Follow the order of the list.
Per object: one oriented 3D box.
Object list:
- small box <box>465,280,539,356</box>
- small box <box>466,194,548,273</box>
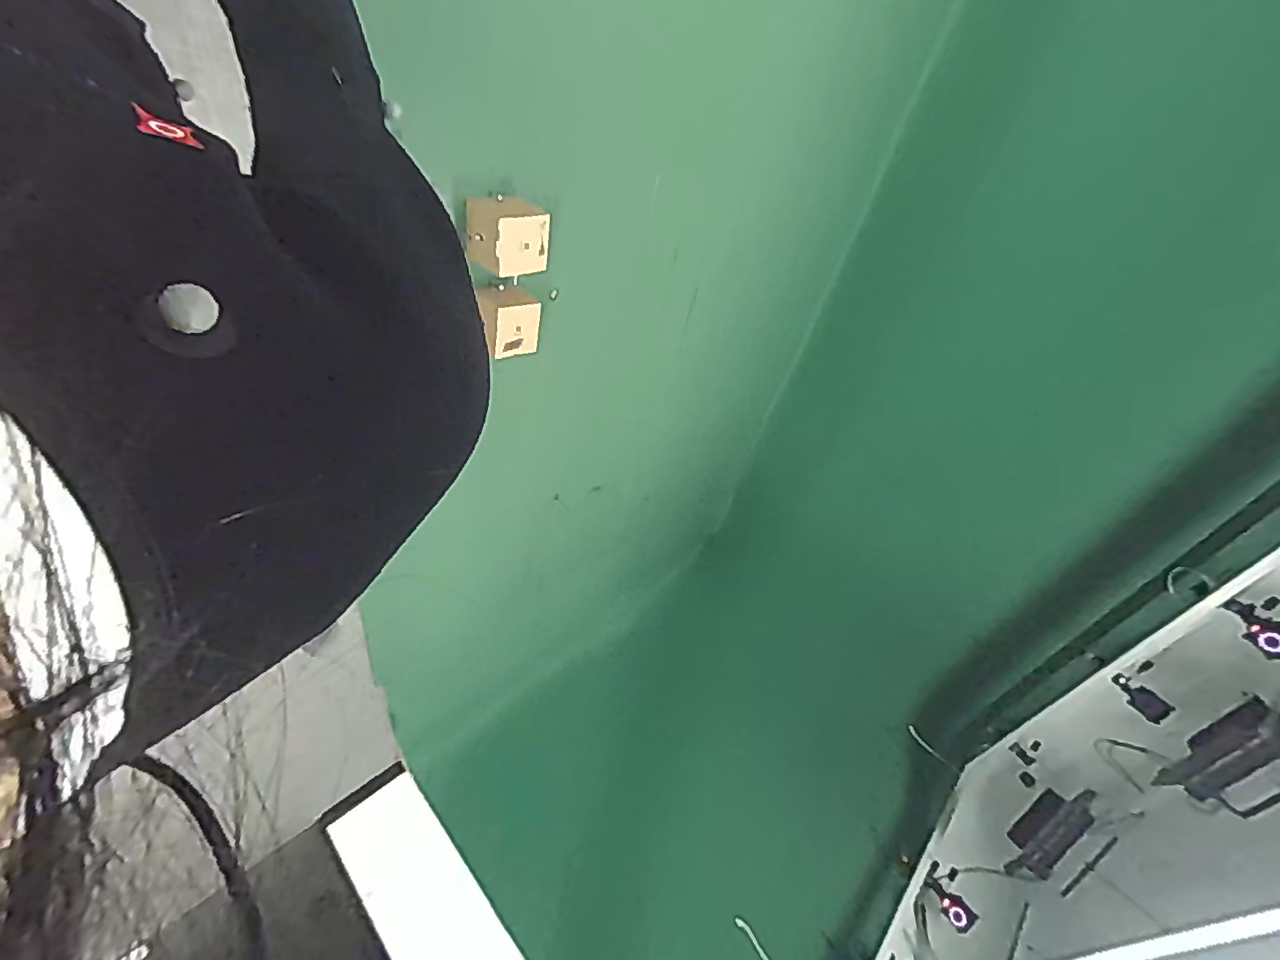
[{"bbox_3d":[-0.456,-0.531,1.762,0.168,0.176,0.179,-25,144,-41],"label":"small box"},{"bbox_3d":[-0.397,-0.729,1.594,0.179,0.176,0.168,-26,145,-38],"label":"small box"}]
